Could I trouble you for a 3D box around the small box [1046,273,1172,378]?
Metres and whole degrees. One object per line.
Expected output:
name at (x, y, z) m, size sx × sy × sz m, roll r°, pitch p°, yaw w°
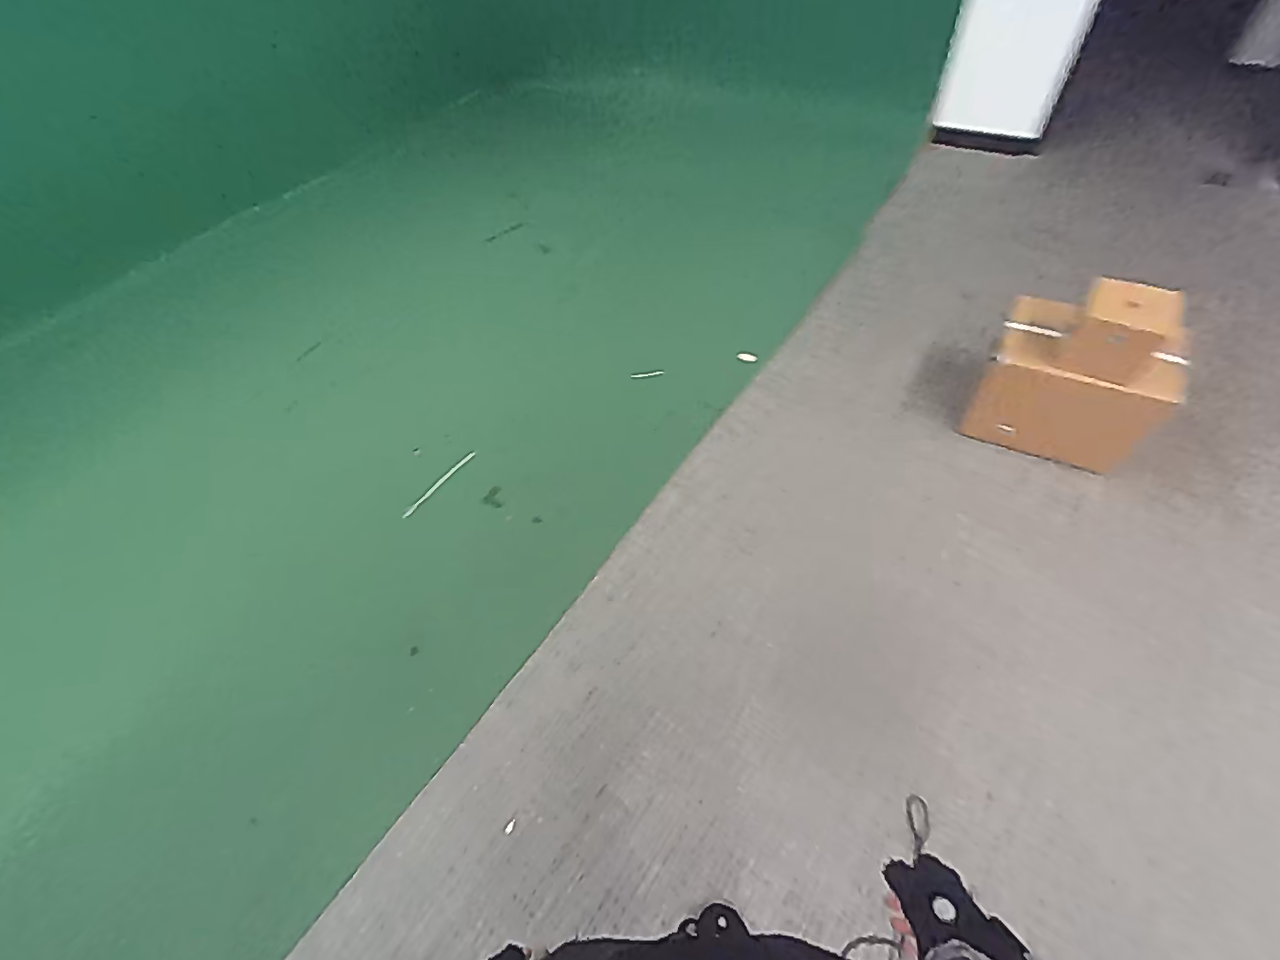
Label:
small box at (1.168, -0.383, 1.357) m, size 0.179 × 0.176 × 0.168 m, roll 25°, pitch 64°, yaw 22°
